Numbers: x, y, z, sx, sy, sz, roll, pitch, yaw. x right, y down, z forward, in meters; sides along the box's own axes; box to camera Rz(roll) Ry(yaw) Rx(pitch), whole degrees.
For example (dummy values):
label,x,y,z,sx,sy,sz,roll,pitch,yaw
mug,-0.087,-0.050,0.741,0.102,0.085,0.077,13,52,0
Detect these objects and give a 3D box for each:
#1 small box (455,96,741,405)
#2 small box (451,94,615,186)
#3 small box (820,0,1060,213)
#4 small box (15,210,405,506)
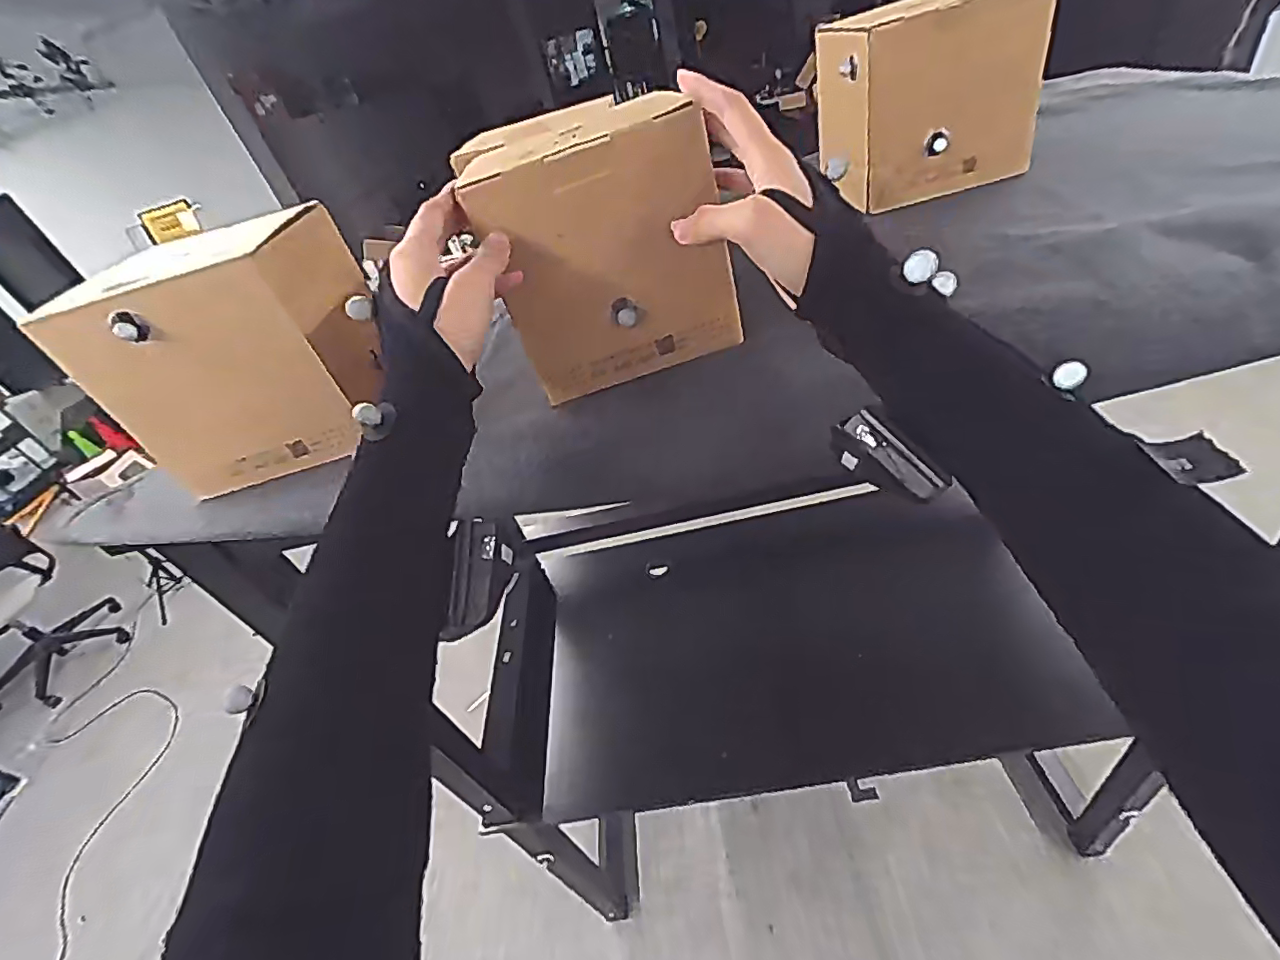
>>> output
label,x,y,z,sx,sy,sz,roll,pitch,yaw
small box,-0.027,-0.189,0.446,0.168,0.176,0.179,-18,38,4
small box,-0.089,-0.318,0.629,0.168,0.176,0.179,-11,40,7
small box,0.303,-0.413,0.590,0.168,0.176,0.179,-13,40,7
small box,-0.328,-0.107,0.468,0.168,0.176,0.179,-18,38,1
